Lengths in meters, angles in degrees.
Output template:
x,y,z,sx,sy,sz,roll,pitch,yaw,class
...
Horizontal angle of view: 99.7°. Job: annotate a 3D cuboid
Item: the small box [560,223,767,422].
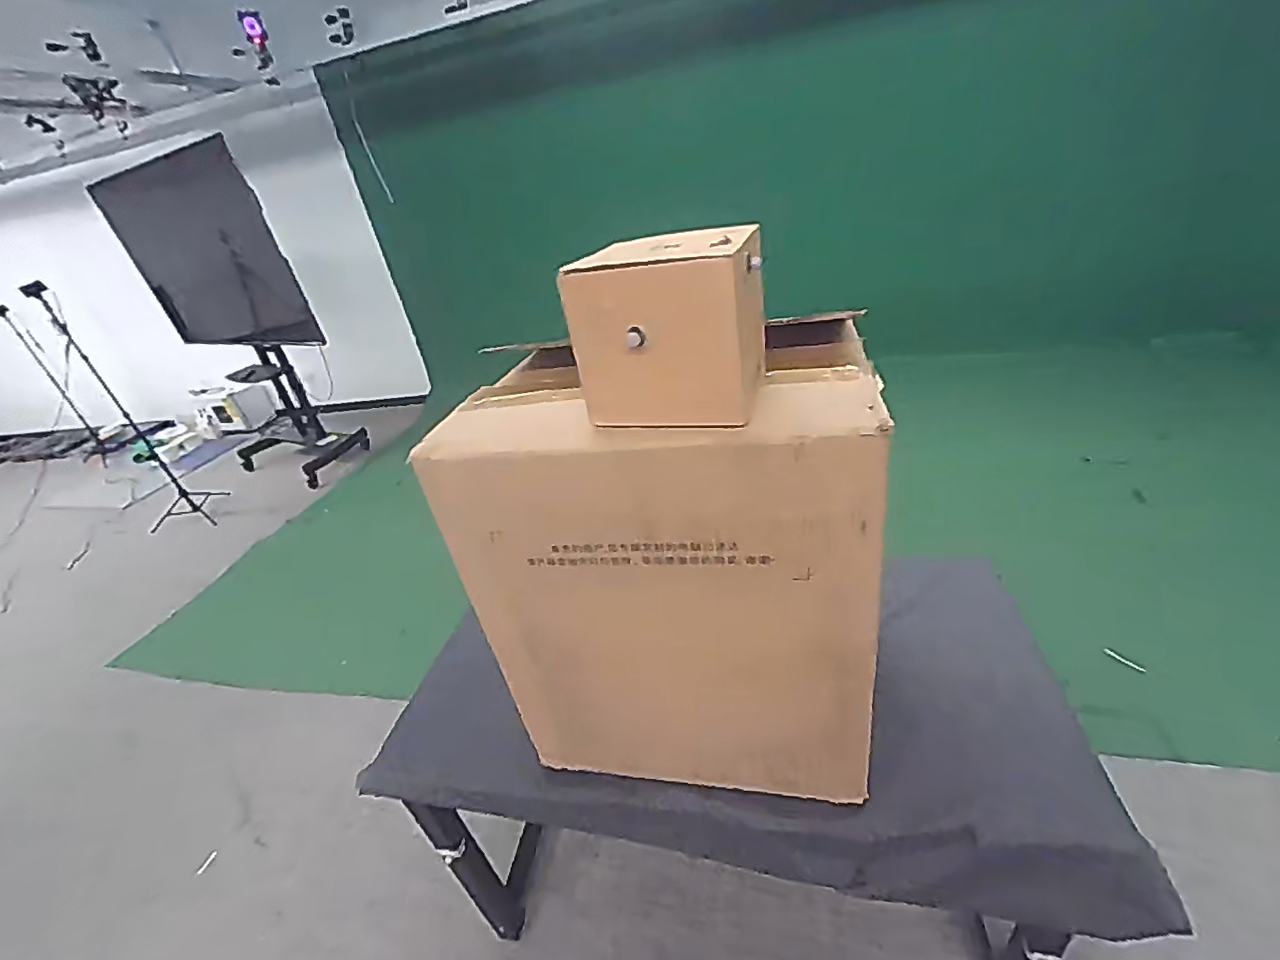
x,y,z,sx,sy,sz,roll,pitch,yaw,class
0.040,-0.173,0.603,0.179,0.176,0.168,2,33,21,small box
